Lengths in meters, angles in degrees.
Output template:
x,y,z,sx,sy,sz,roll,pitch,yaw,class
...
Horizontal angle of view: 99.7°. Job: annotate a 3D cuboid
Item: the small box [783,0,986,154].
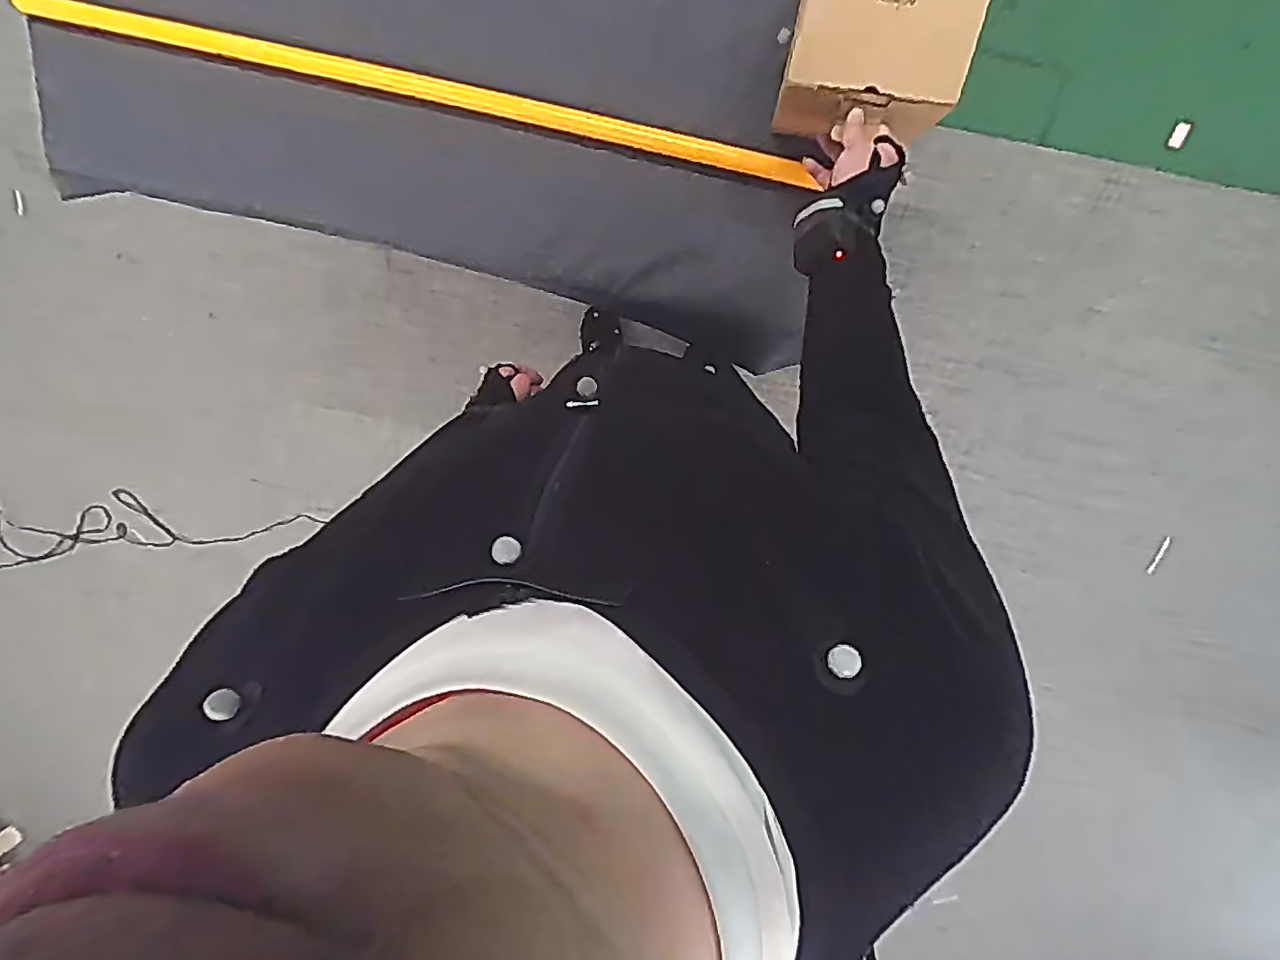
x,y,z,sx,sy,sz,roll,pitch,yaw,class
0.254,-0.473,0.586,0.168,0.176,0.179,9,109,7,small box
